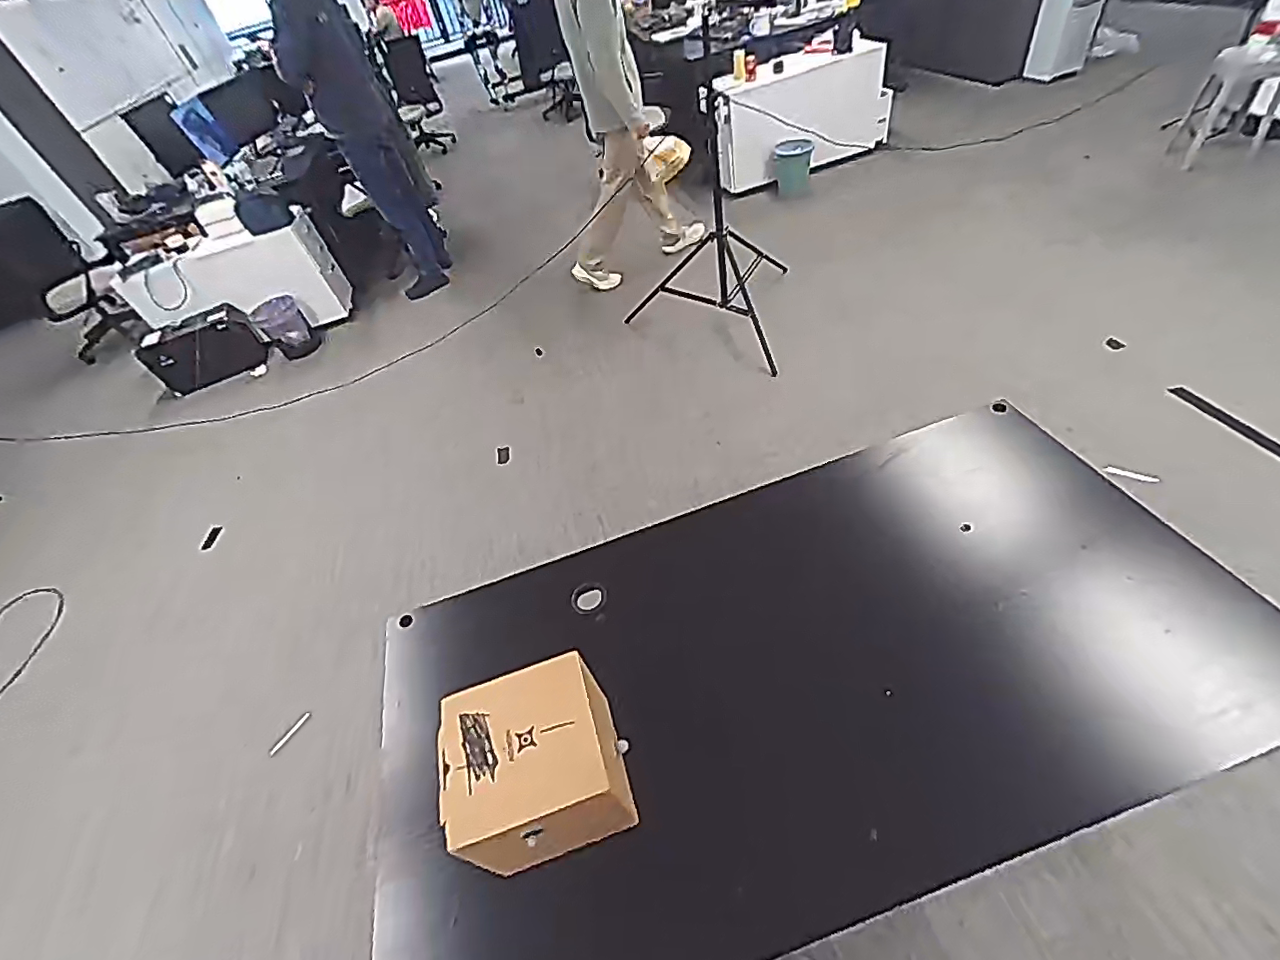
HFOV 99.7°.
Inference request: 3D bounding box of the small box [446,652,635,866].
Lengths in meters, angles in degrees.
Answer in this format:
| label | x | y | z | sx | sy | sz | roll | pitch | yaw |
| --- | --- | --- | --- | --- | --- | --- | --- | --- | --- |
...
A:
| label | x | y | z | sx | sy | sz | roll | pitch | yaw |
| --- | --- | --- | --- | --- | --- | --- | --- | --- | --- |
| small box | -0.121 | 0.351 | 0.674 | 0.179 | 0.176 | 0.168 | -19 | 46 | -5 |
